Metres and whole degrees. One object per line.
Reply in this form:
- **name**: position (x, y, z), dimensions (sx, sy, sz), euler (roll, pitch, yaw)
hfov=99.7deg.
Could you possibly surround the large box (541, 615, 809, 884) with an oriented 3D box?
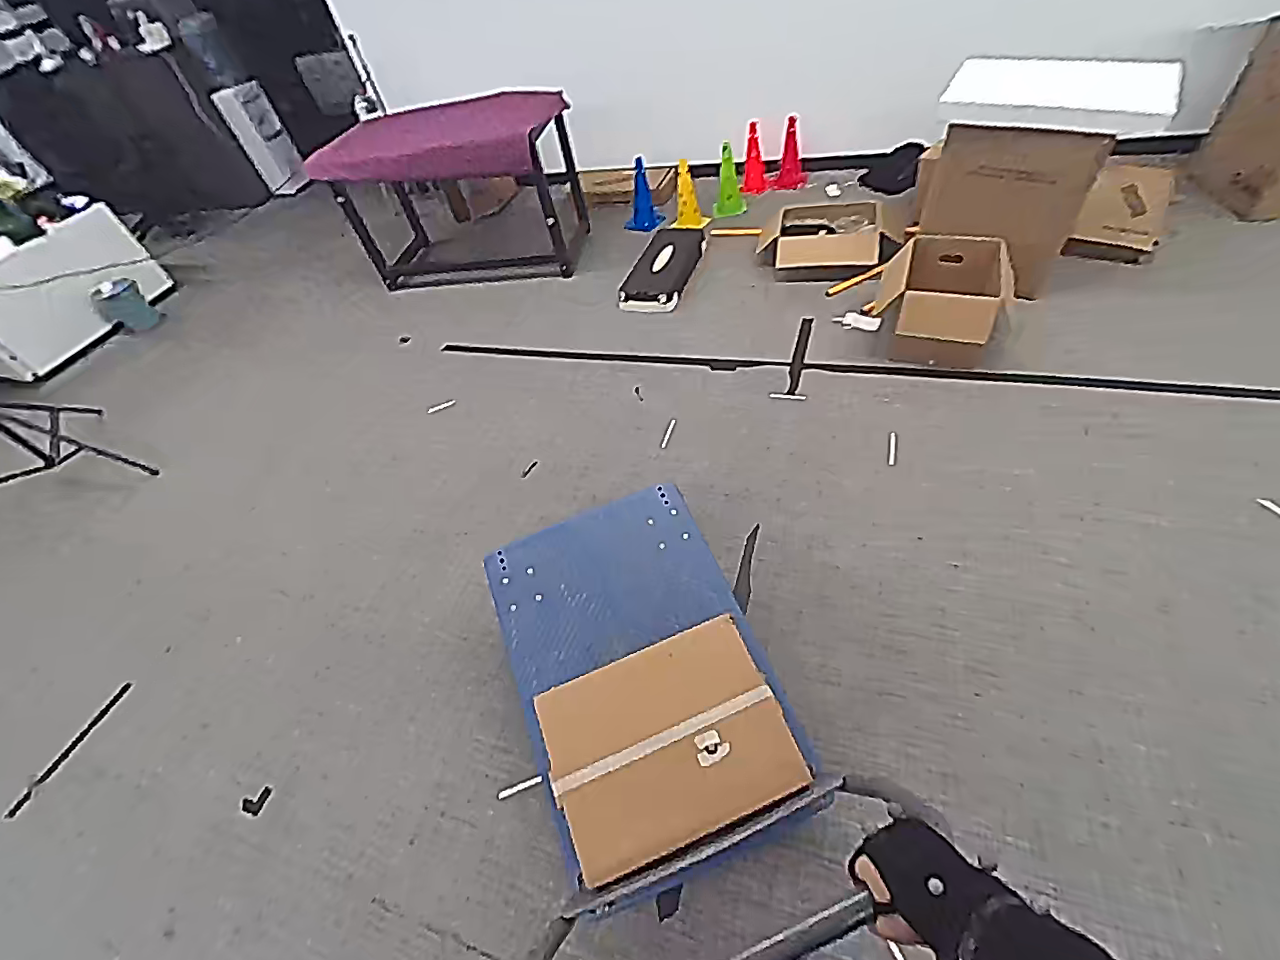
- **large box**: position (0.062, 0.535, 1.091), dimensions (0.408, 0.320, 0.320), euler (-22, 60, -8)
